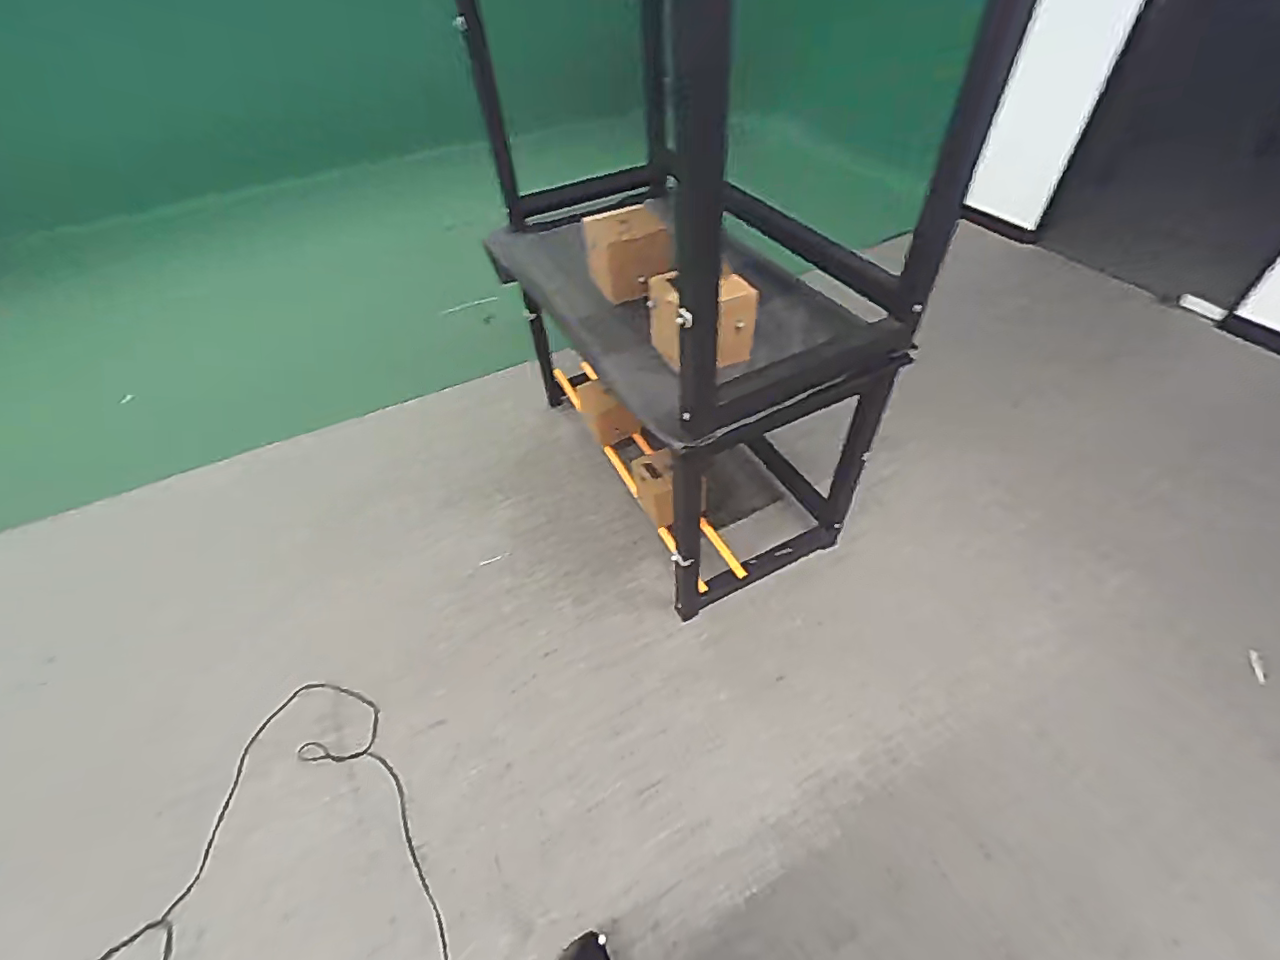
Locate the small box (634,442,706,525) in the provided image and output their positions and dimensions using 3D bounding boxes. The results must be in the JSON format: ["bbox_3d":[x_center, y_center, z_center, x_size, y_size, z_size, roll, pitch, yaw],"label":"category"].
[{"bbox_3d":[0.097,0.015,1.713,0.179,0.176,0.168,-20,50,-12],"label":"small box"}]

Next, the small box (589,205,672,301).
[{"bbox_3d":[-0.025,-0.603,1.439,0.168,0.176,0.179,-20,50,-13],"label":"small box"}]
